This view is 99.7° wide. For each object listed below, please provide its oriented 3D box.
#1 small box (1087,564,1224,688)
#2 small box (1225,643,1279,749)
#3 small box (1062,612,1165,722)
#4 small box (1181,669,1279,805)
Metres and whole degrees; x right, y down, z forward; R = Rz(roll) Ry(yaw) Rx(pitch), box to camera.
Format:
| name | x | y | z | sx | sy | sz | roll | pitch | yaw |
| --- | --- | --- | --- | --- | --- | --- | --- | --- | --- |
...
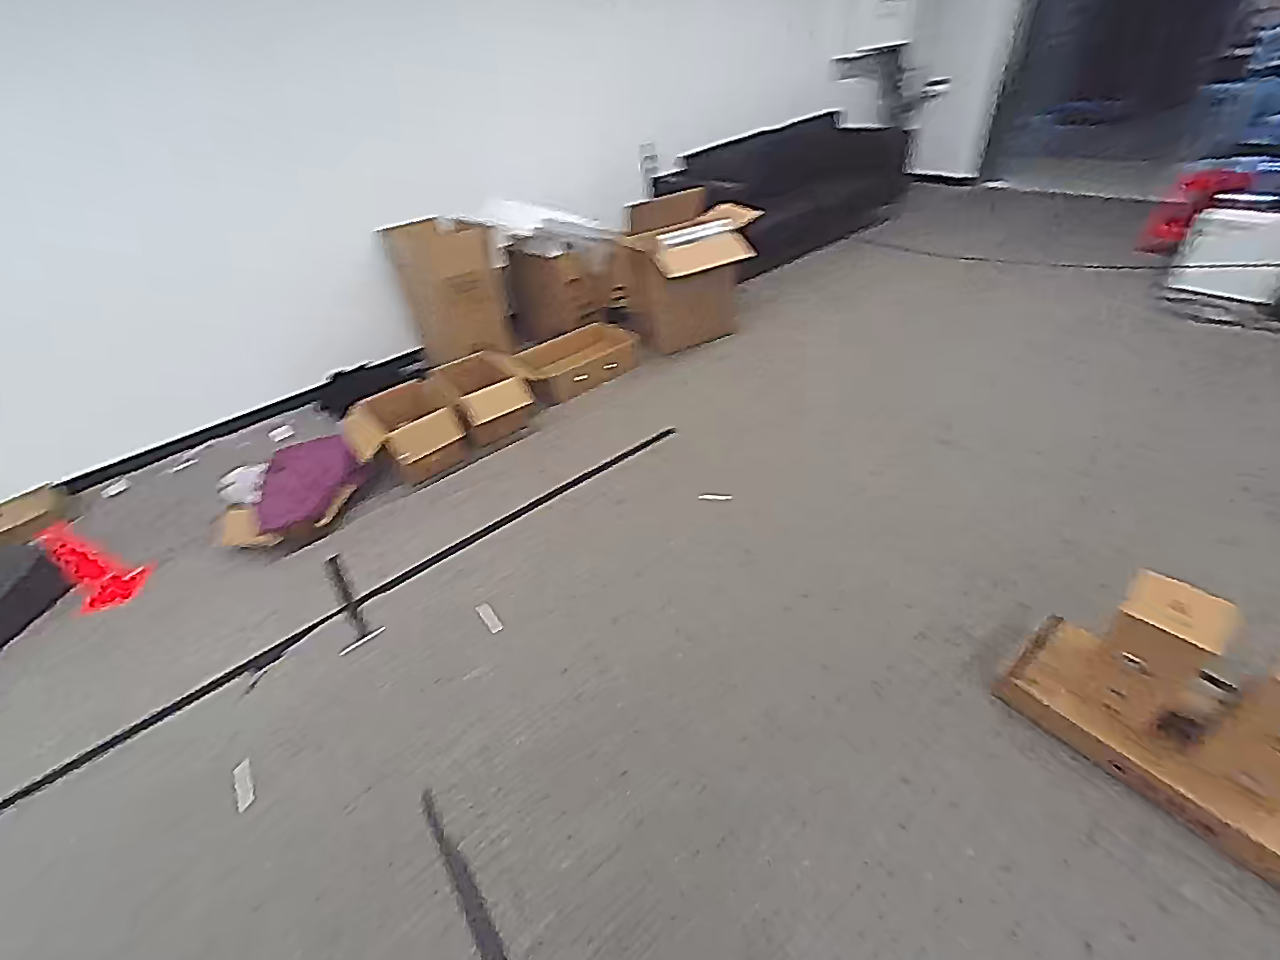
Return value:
| name | x | y | z | sx | sy | sz | roll | pitch | yaw |
| --- | --- | --- | --- | --- | --- | --- | --- | --- | --- |
| small box | 1.174 | 0.333 | 1.242 | 0.179 | 0.176 | 0.168 | -35 | 45 | -29 |
| small box | 1.344 | 0.439 | 1.082 | 0.179 | 0.176 | 0.168 | -28 | 42 | -24 |
| small box | 1.193 | 0.459 | 1.345 | 0.179 | 0.176 | 0.168 | -33 | 45 | -27 |
| small box | 1.353 | 0.563 | 1.188 | 0.179 | 0.176 | 0.168 | -32 | 44 | -27 |
